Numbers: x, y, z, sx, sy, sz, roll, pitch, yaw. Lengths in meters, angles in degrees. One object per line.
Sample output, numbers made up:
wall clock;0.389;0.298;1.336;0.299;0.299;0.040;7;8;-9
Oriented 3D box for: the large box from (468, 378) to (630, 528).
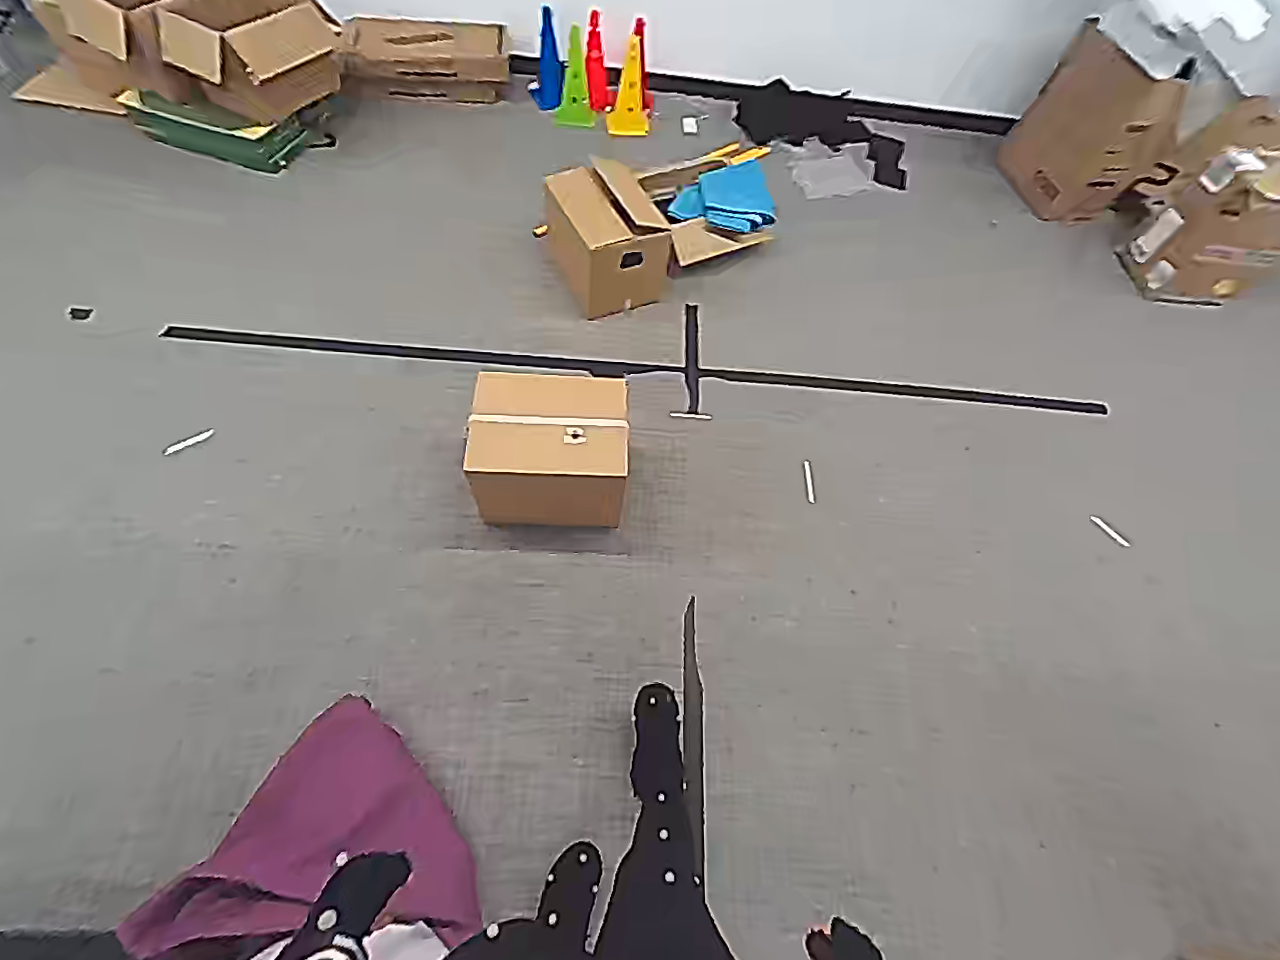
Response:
large box;-0.247;-0.065;1.532;0.408;0.320;0.320;2;61;-7
